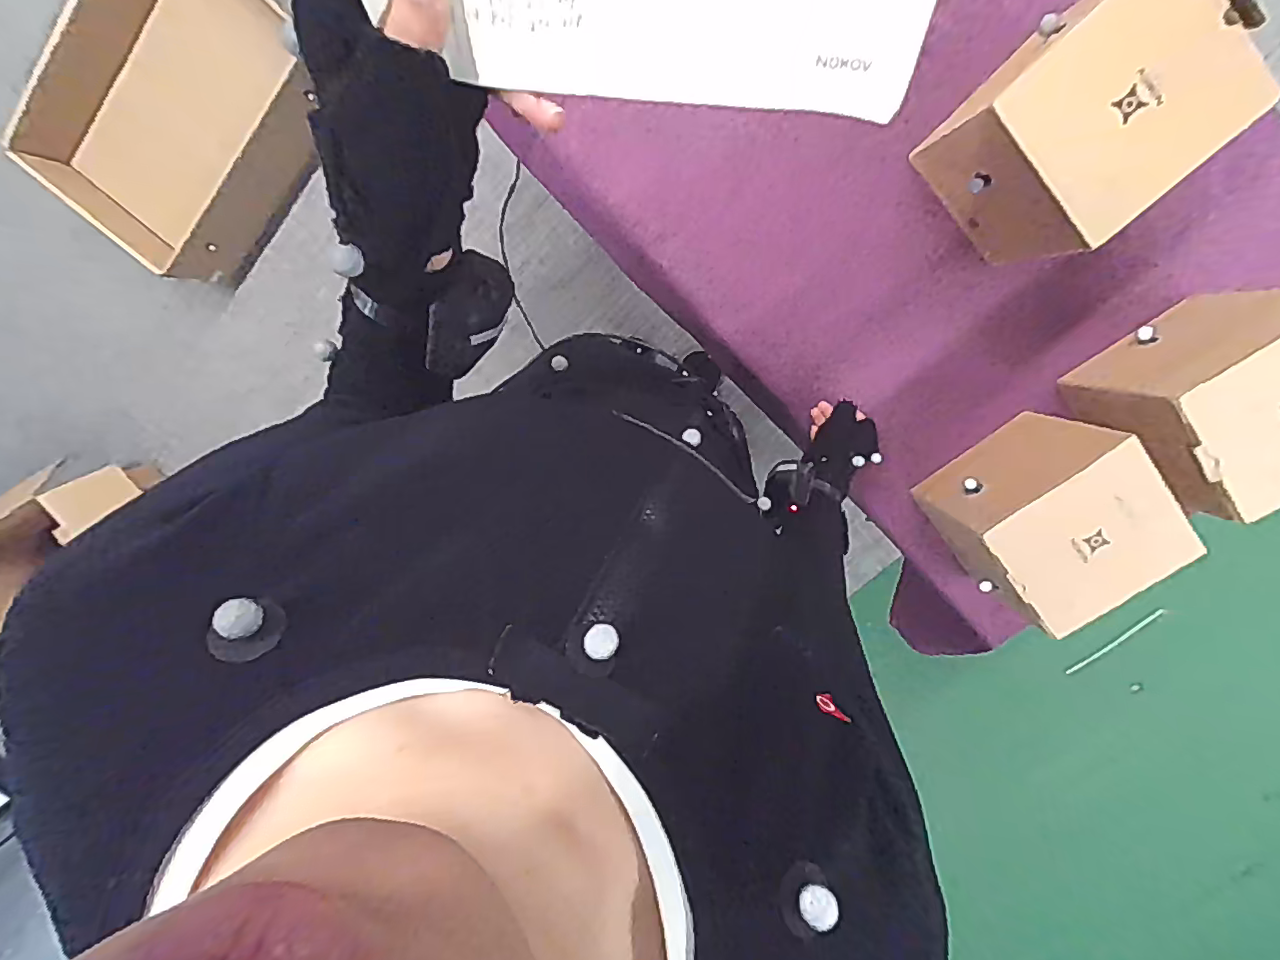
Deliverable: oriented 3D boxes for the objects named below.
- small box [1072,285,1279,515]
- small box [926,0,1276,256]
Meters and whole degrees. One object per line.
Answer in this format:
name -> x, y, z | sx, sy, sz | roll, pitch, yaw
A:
small box -> 0.635, -0.095, 0.600 | 0.179, 0.176, 0.168 | -35, 103, 12
small box -> 0.419, -0.349, 0.534 | 0.179, 0.176, 0.168 | -43, 101, 12
